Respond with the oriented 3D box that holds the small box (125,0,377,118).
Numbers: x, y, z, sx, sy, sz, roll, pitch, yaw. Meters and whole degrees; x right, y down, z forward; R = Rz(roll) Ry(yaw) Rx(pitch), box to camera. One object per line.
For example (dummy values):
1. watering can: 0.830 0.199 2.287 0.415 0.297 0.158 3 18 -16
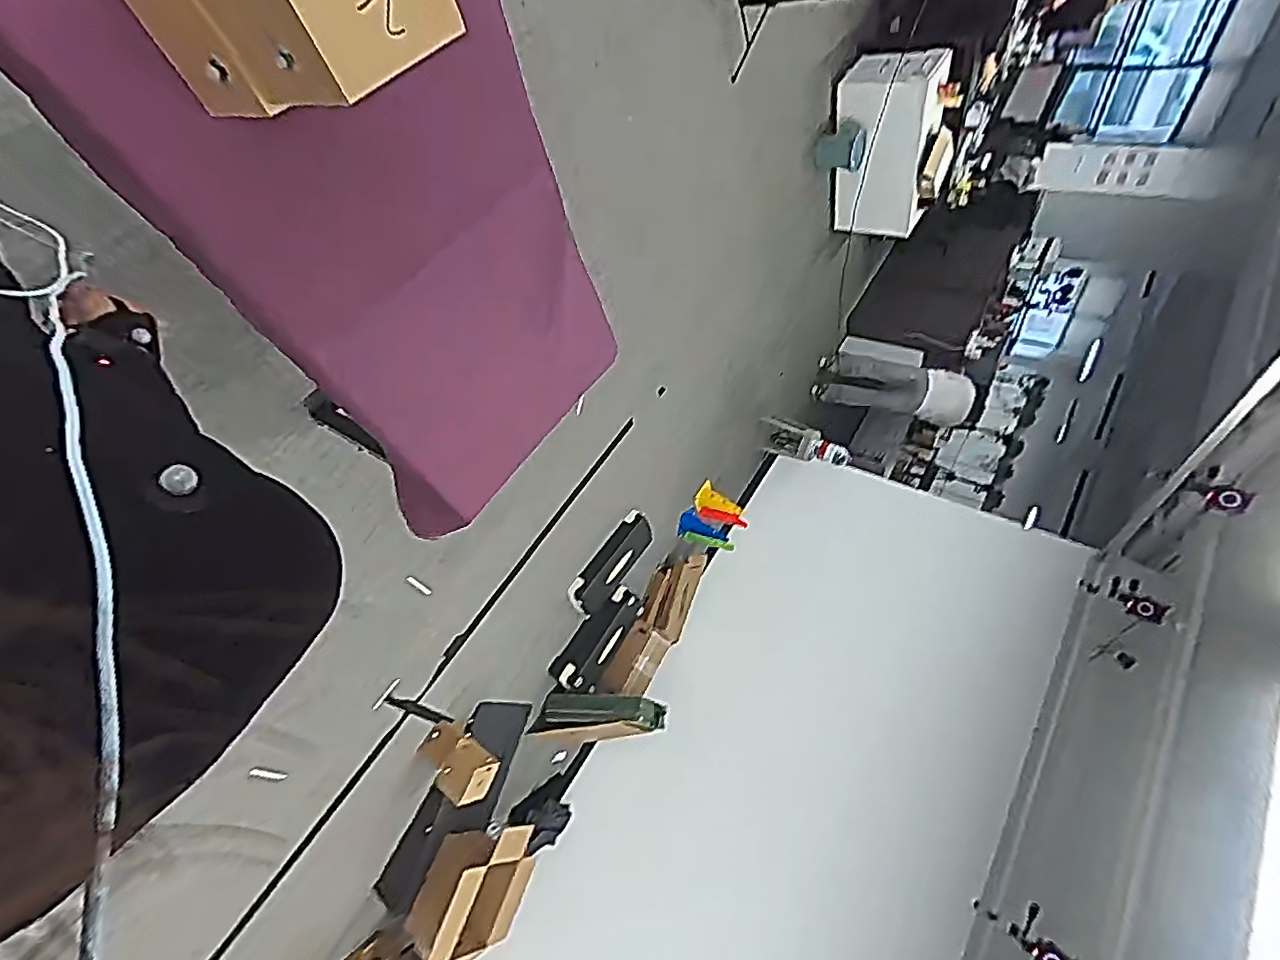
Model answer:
1. small box: -0.445 -0.535 0.599 0.168 0.176 0.179 -53 147 -23
